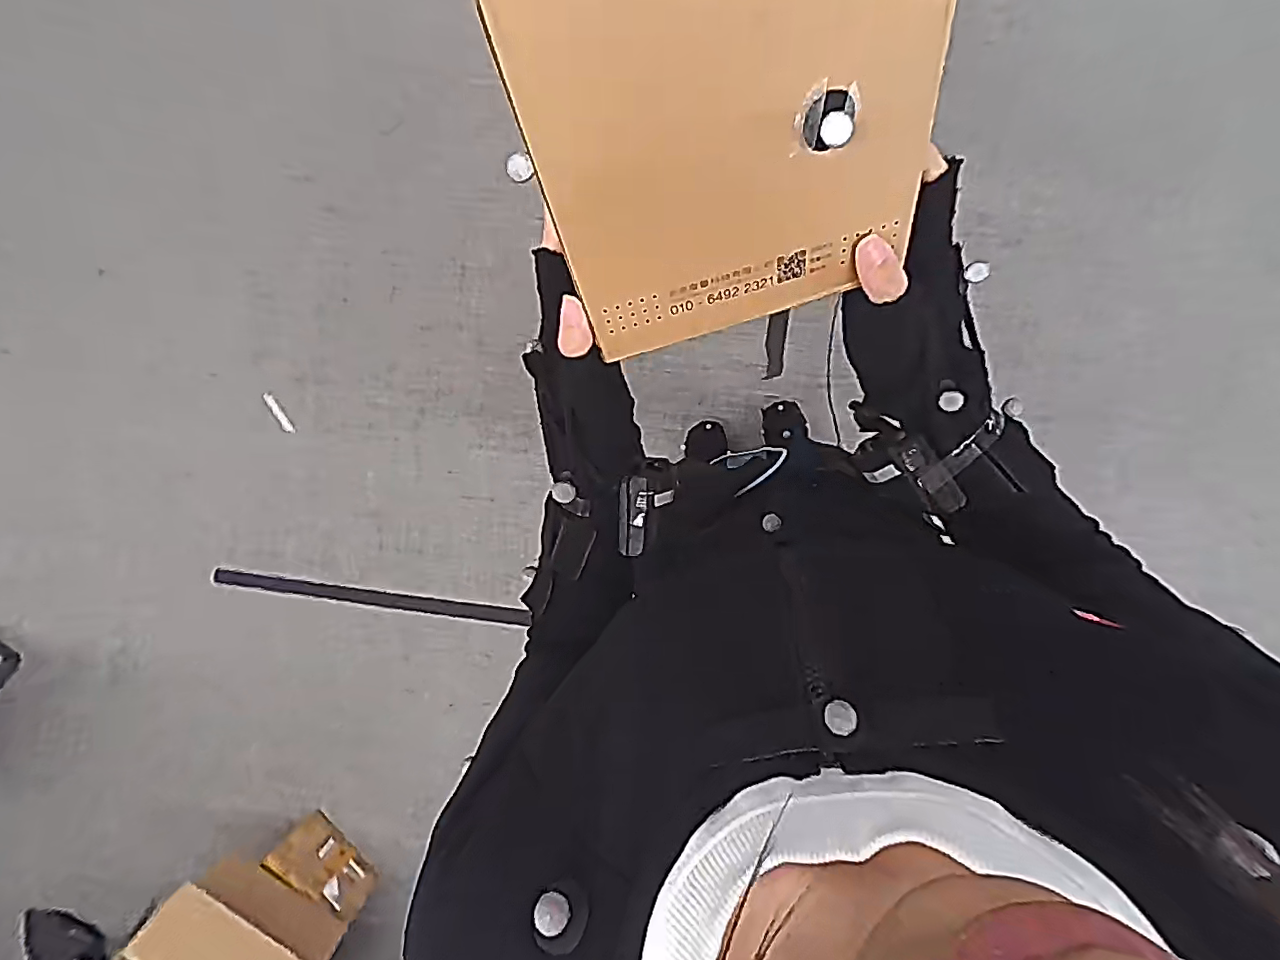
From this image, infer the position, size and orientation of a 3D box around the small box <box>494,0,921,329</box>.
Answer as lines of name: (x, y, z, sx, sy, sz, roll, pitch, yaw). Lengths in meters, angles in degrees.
small box: (0.032, -0.203, 0.293, 0.168, 0.176, 0.179, -14, 52, 4)
